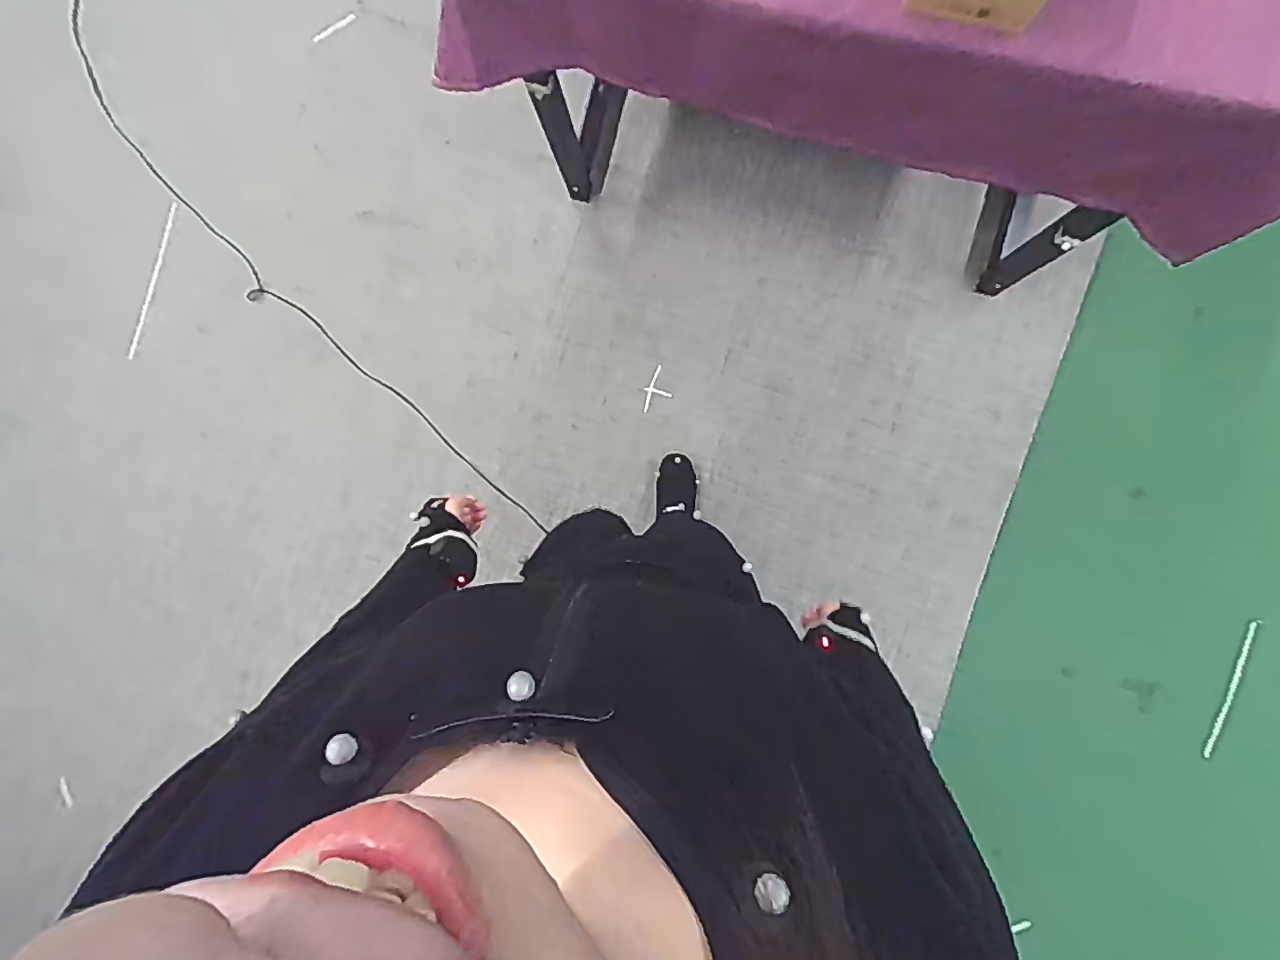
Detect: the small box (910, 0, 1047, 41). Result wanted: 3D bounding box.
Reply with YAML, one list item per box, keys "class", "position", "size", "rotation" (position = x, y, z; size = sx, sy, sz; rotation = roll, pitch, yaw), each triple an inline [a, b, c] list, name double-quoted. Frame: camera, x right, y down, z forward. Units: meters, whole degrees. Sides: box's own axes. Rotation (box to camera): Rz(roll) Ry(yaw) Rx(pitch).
- class: "small box"
  position: [0.455, -0.694, 0.658]
  size: [0.168, 0.176, 0.179]
  rotation: [19, 91, 3]
